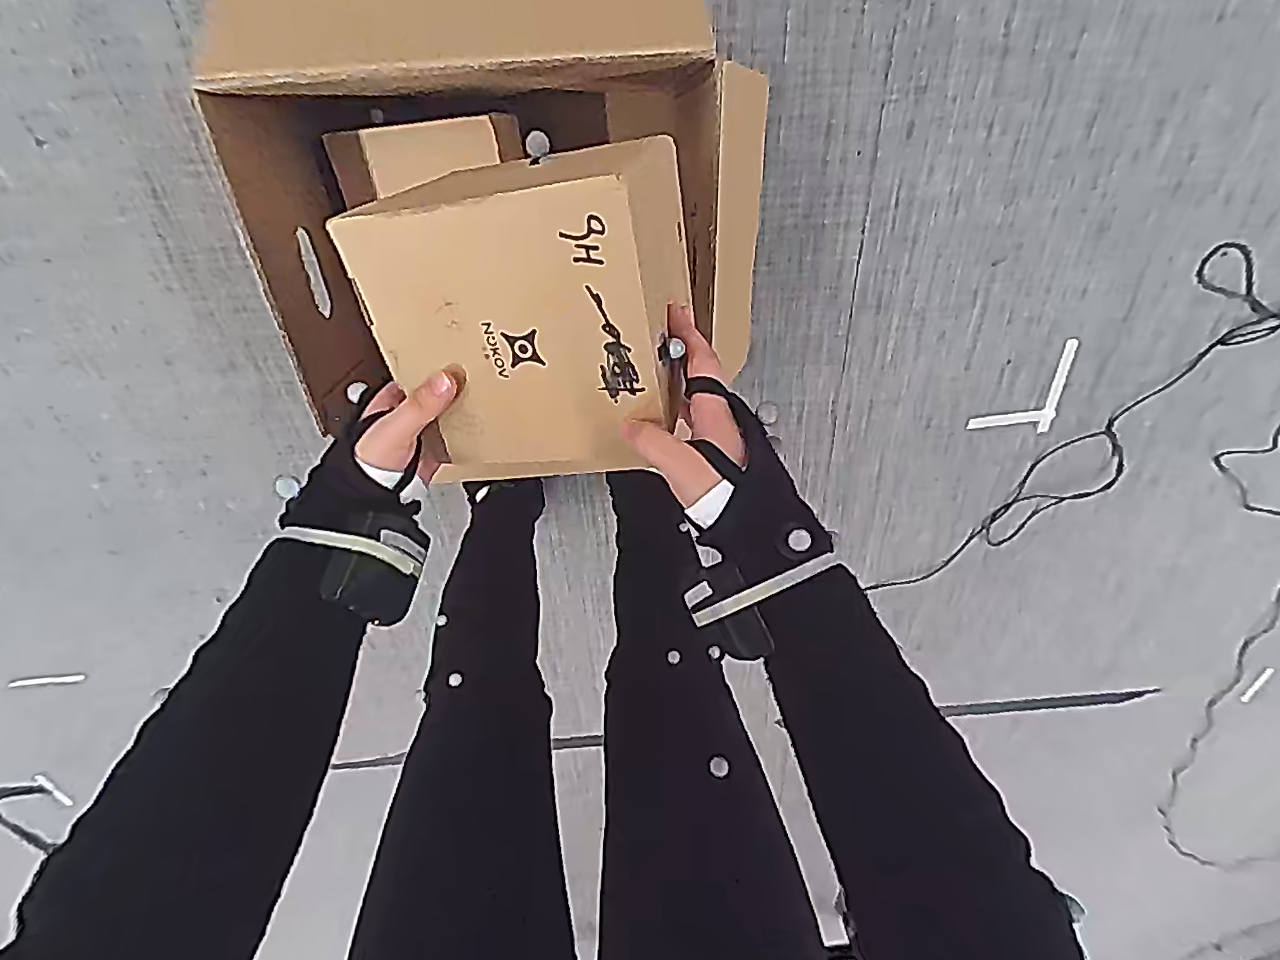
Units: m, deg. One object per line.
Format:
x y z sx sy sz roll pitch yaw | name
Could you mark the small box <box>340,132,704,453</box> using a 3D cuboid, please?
-0.056 -0.133 0.383 0.179 0.176 0.168 0 127 15 | small box
